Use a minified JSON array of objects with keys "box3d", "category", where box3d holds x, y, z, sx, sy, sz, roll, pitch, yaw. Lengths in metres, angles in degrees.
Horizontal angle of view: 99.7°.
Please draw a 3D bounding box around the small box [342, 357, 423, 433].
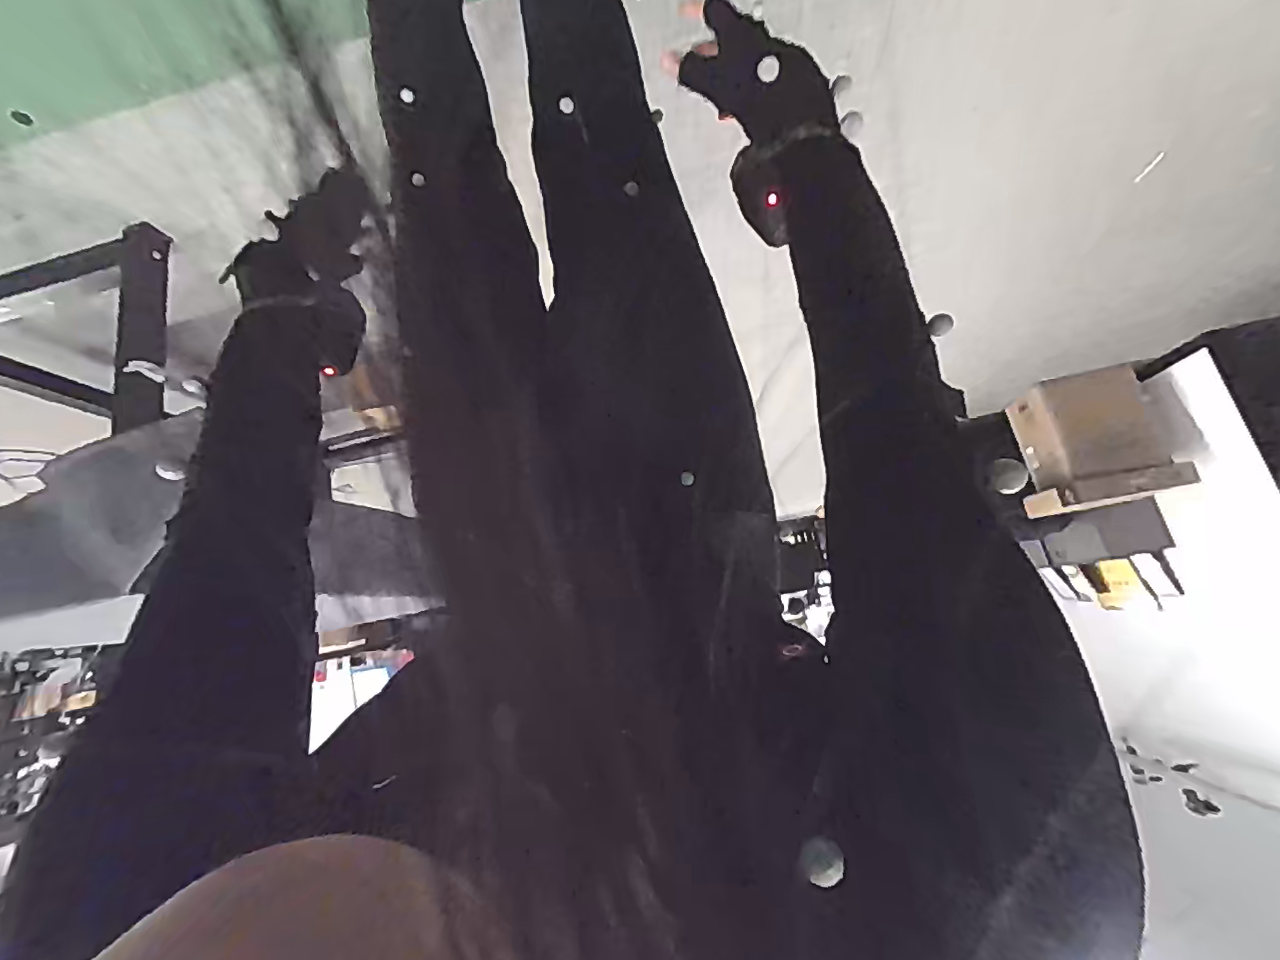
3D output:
[{"box3d":[-0.810,-0.268,1.699,0.179,0.176,0.168,-12,165,1],"category":"small box"}]
